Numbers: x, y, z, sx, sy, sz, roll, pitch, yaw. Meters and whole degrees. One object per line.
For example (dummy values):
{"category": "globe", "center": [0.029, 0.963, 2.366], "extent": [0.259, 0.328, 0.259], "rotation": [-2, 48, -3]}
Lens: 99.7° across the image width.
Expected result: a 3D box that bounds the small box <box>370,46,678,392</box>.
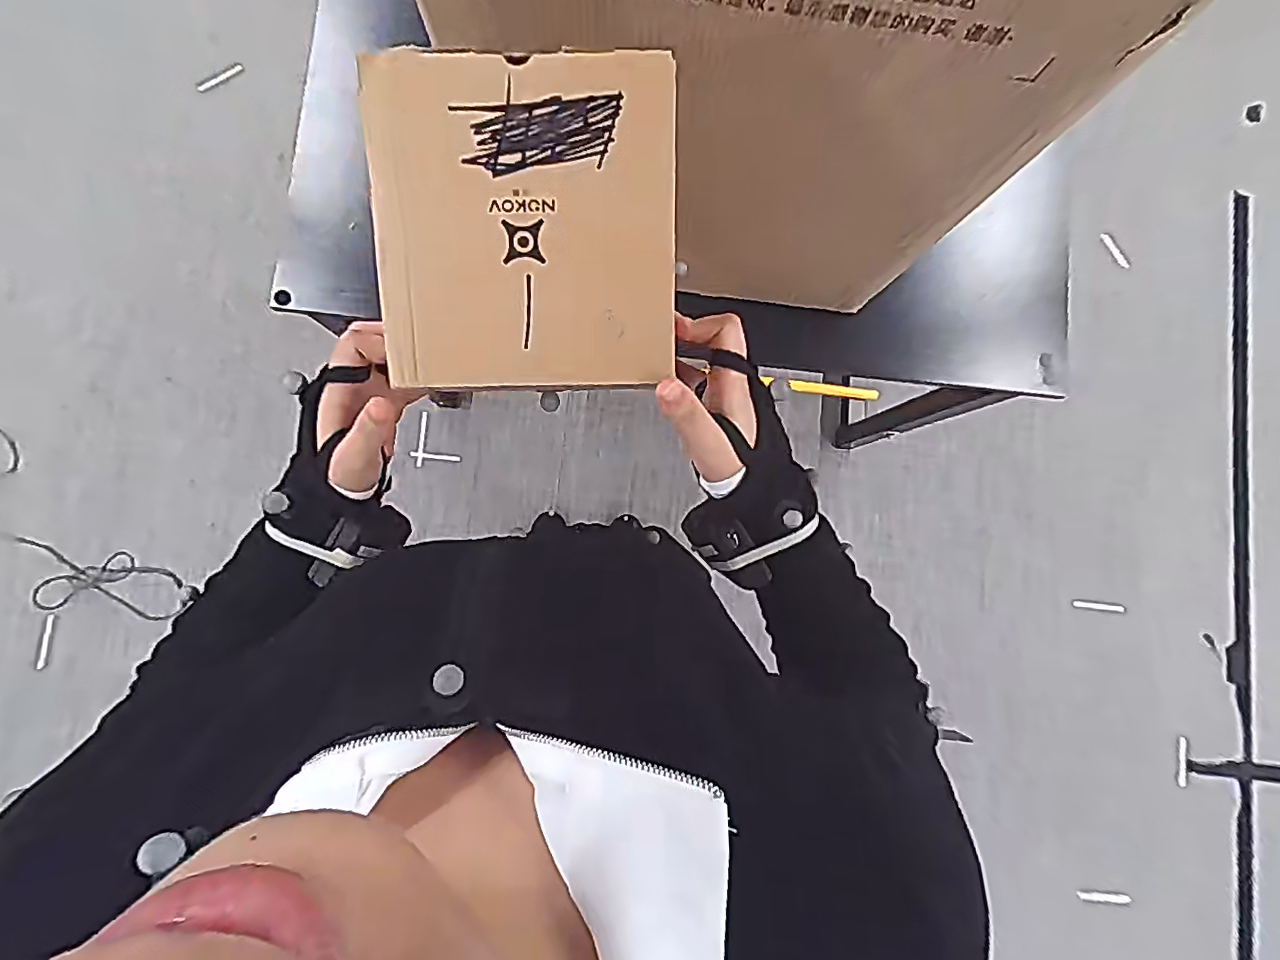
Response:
{"category": "small box", "center": [-0.064, -0.153, 0.377], "extent": [0.168, 0.176, 0.179], "rotation": [-1, 98, -1]}
